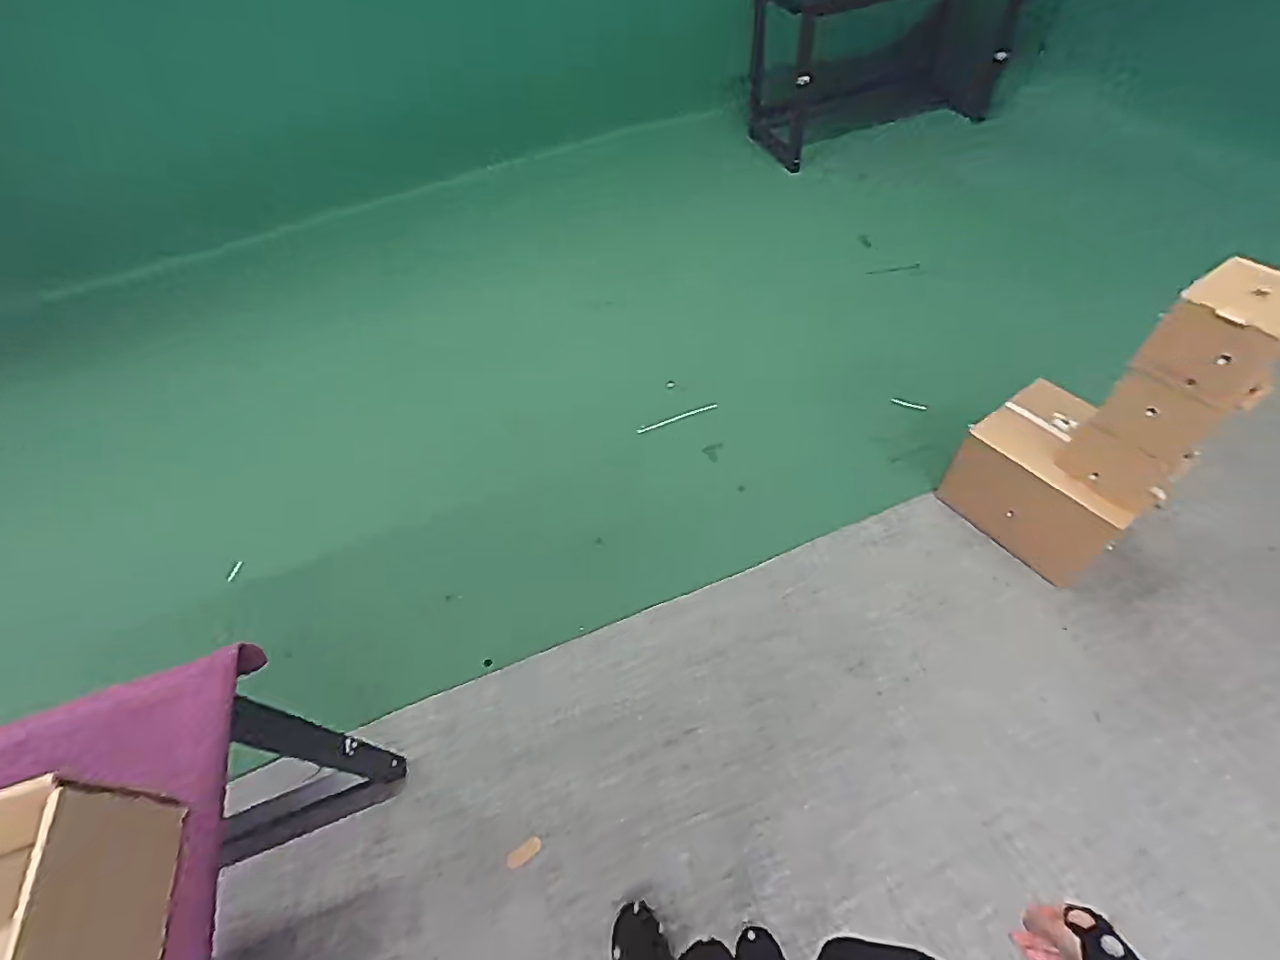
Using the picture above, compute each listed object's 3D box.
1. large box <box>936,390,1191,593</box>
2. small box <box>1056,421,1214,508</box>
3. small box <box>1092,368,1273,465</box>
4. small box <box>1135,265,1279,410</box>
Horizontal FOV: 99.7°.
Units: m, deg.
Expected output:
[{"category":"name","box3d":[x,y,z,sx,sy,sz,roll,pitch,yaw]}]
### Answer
[{"category":"large box","box3d":[1.136,0.029,1.505,0.320,0.320,0.408,-32,54,-16]},{"category":"small box","box3d":[1.139,-0.057,1.260,0.168,0.176,0.179,-28,54,-13]},{"category":"small box","box3d":[1.117,-0.156,1.130,0.168,0.176,0.179,-32,54,-15]},{"category":"small box","box3d":[1.089,-0.262,1.009,0.179,0.176,0.168,-31,54,-14]}]
